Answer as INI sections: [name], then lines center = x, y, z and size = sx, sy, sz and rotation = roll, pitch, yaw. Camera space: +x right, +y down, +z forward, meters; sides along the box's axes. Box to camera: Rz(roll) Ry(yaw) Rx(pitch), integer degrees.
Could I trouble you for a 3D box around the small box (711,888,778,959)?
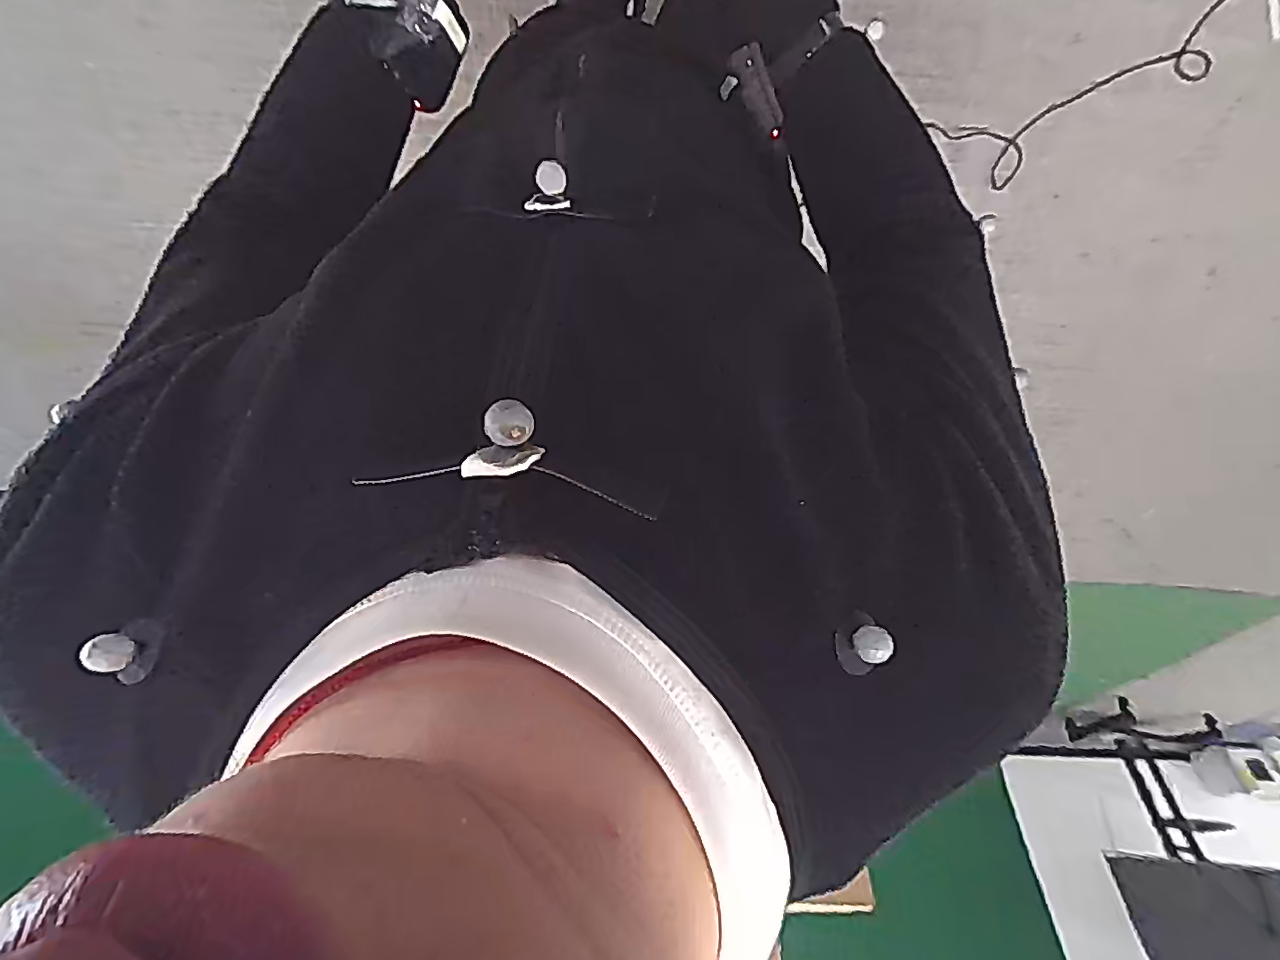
[small box]
center = 0.309, 1.349, 1.641
size = 0.168, 0.176, 0.179
rotation = 3, 140, -1
